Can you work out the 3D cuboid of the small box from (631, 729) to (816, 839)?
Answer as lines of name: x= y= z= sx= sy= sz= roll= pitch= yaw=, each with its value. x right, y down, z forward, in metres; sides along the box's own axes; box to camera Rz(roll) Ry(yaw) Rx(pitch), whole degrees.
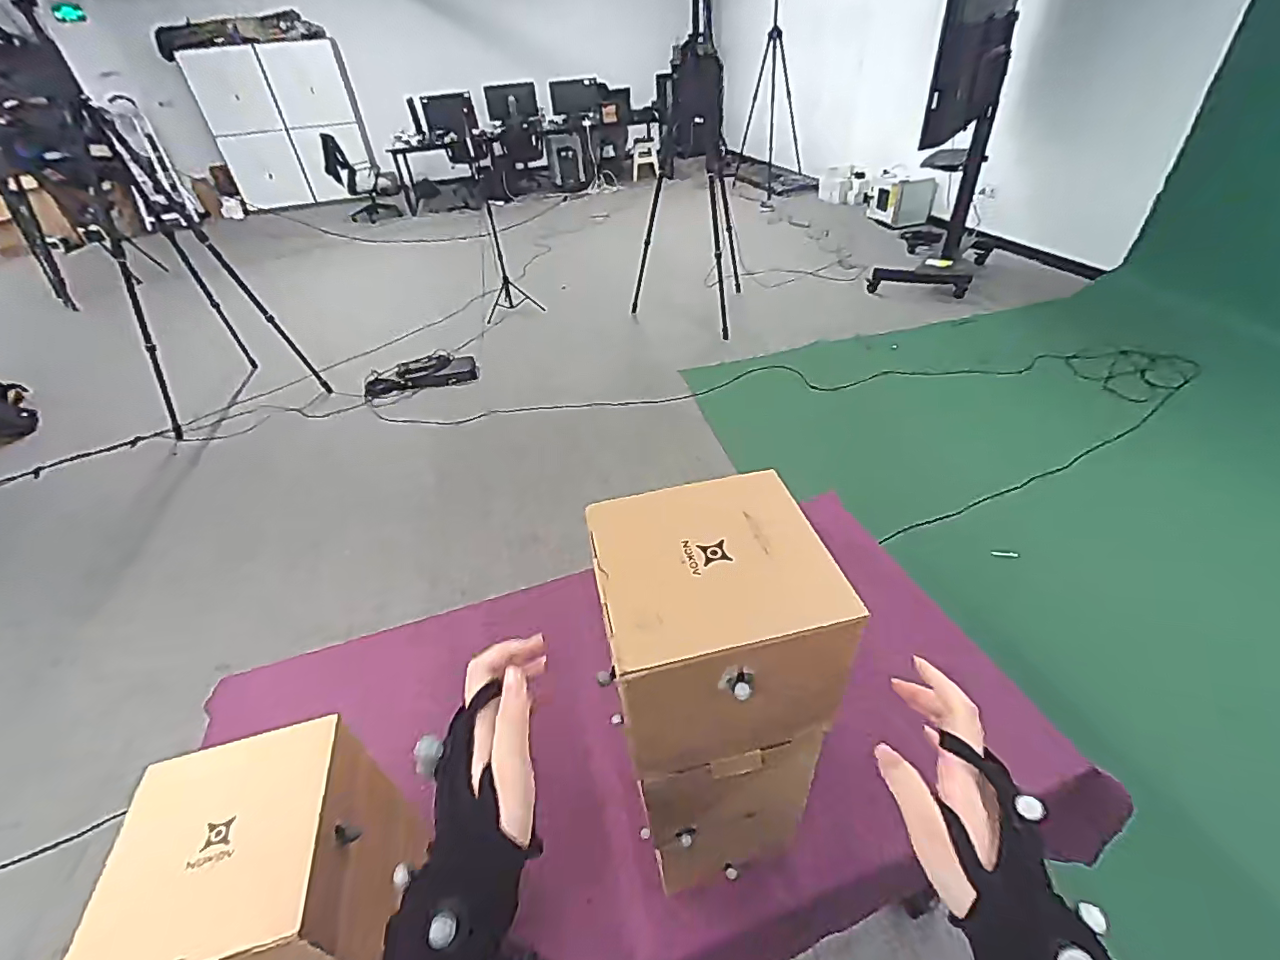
small box: x=0.067 y=0.247 z=0.571 sx=0.168 sy=0.176 sz=0.179 roll=-12 pitch=38 yaw=-7

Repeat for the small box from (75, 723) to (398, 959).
small box: x=-0.335 y=0.363 z=0.492 sx=0.168 sy=0.176 sz=0.179 roll=-13 pitch=40 yaw=-9

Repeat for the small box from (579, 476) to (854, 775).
small box: x=0.054 y=0.124 z=0.465 sx=0.179 sy=0.176 sz=0.168 roll=-11 pitch=40 yaw=-6

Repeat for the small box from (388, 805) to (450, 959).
small box: x=-0.315 y=0.495 z=0.586 sx=0.179 sy=0.176 sz=0.168 roll=-14 pitch=38 yaw=-9
